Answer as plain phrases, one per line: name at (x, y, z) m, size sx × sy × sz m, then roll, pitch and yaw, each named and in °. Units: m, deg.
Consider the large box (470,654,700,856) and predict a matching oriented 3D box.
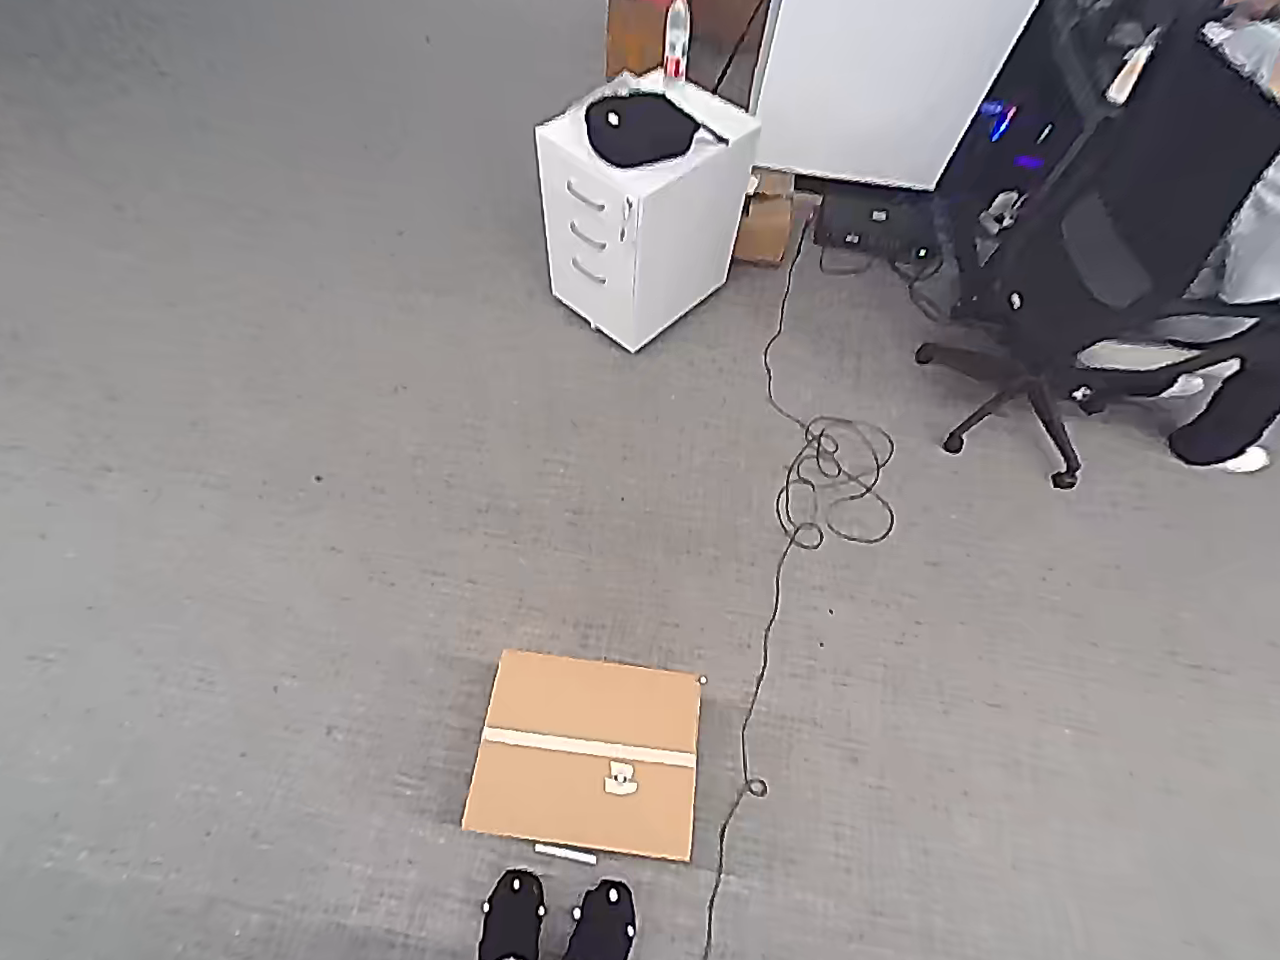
large box at (-0.102, 0.582, 1.150) m, size 0.408 × 0.320 × 0.320 m, roll 8°, pitch 60°, yaw 0°
